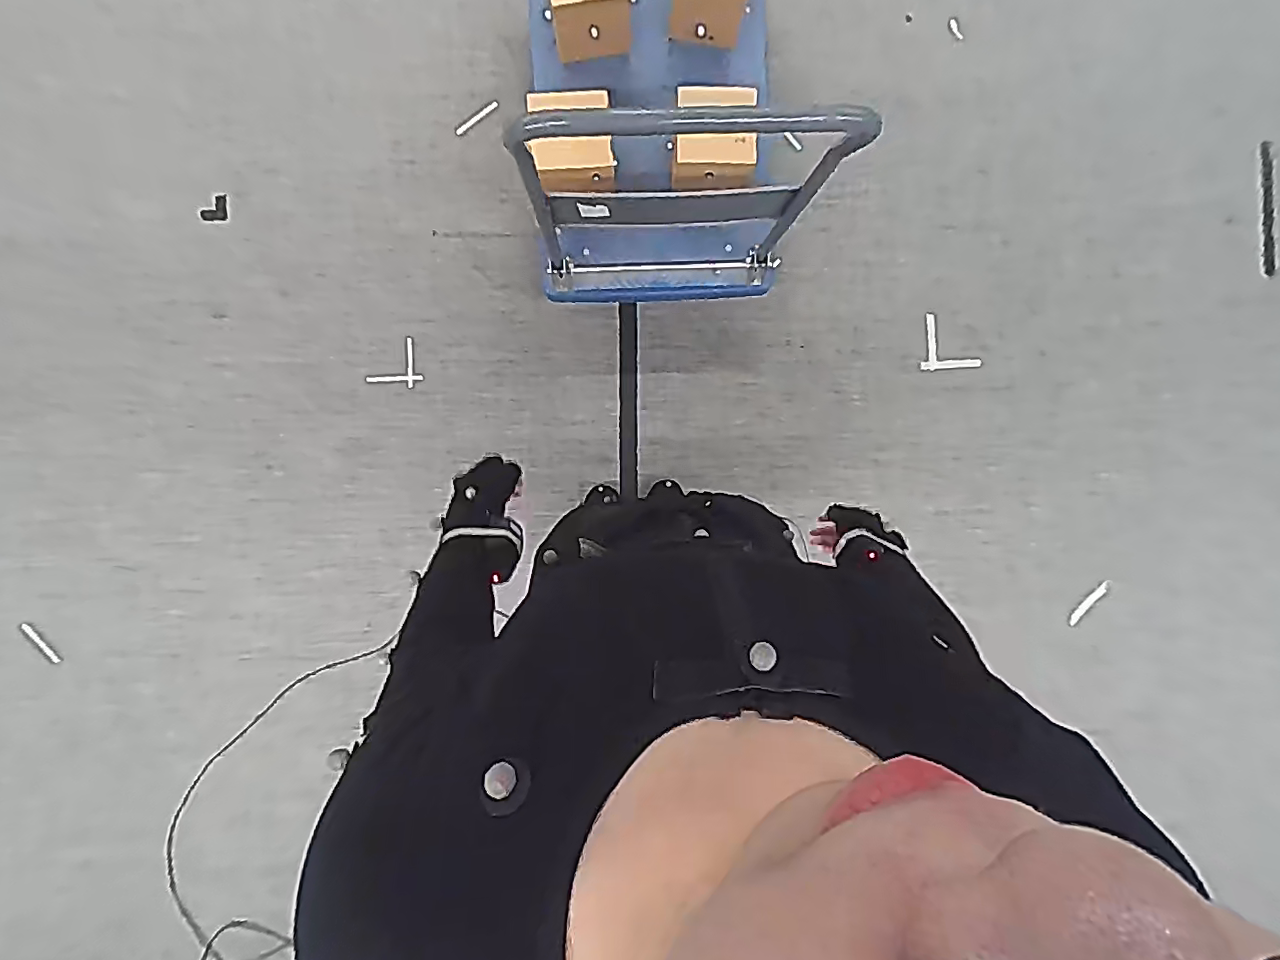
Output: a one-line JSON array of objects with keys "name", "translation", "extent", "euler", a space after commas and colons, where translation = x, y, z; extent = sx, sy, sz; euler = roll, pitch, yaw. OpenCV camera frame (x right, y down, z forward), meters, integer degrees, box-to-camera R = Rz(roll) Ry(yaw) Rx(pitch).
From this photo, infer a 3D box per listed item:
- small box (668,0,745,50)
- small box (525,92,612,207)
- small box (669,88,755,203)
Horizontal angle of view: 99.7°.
[{"name": "small box", "translation": [0.159, -1.146, 1.236], "extent": [0.168, 0.176, 0.179], "euler": [8, 92, -2]}, {"name": "small box", "translation": [-0.157, -0.745, 1.235], "extent": [0.179, 0.176, 0.168], "euler": [-5, 91, -3]}, {"name": "small box", "translation": [0.159, -0.760, 1.243], "extent": [0.179, 0.176, 0.168], "euler": [0, 91, -2]}]
